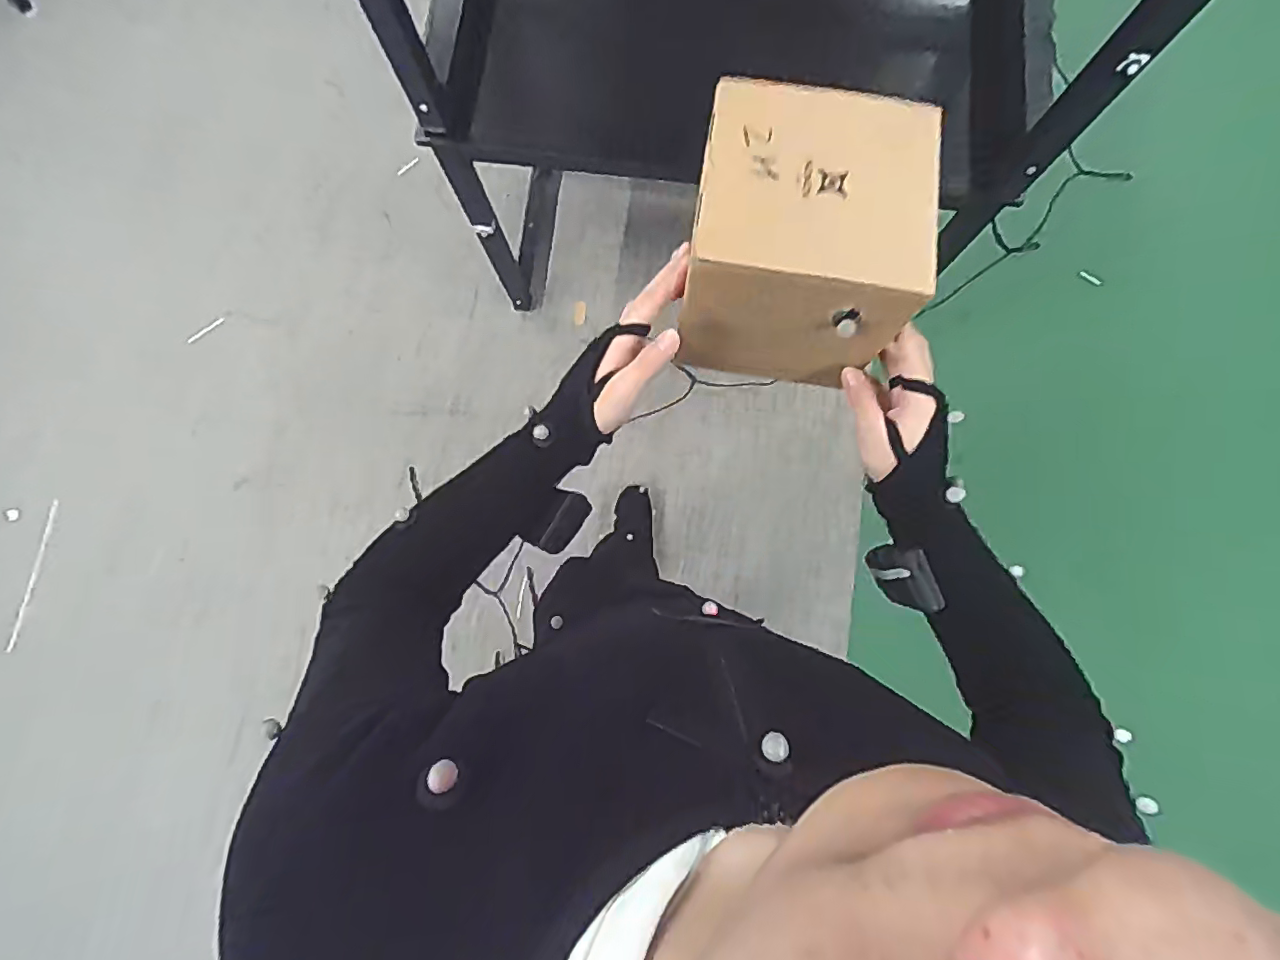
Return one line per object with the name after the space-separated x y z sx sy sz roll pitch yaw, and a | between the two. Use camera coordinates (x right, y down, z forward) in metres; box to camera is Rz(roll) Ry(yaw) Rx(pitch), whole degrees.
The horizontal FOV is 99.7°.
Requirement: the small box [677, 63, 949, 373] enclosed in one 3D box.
0.133 -0.207 0.469 0.179 0.176 0.168 9 77 4 | small box
